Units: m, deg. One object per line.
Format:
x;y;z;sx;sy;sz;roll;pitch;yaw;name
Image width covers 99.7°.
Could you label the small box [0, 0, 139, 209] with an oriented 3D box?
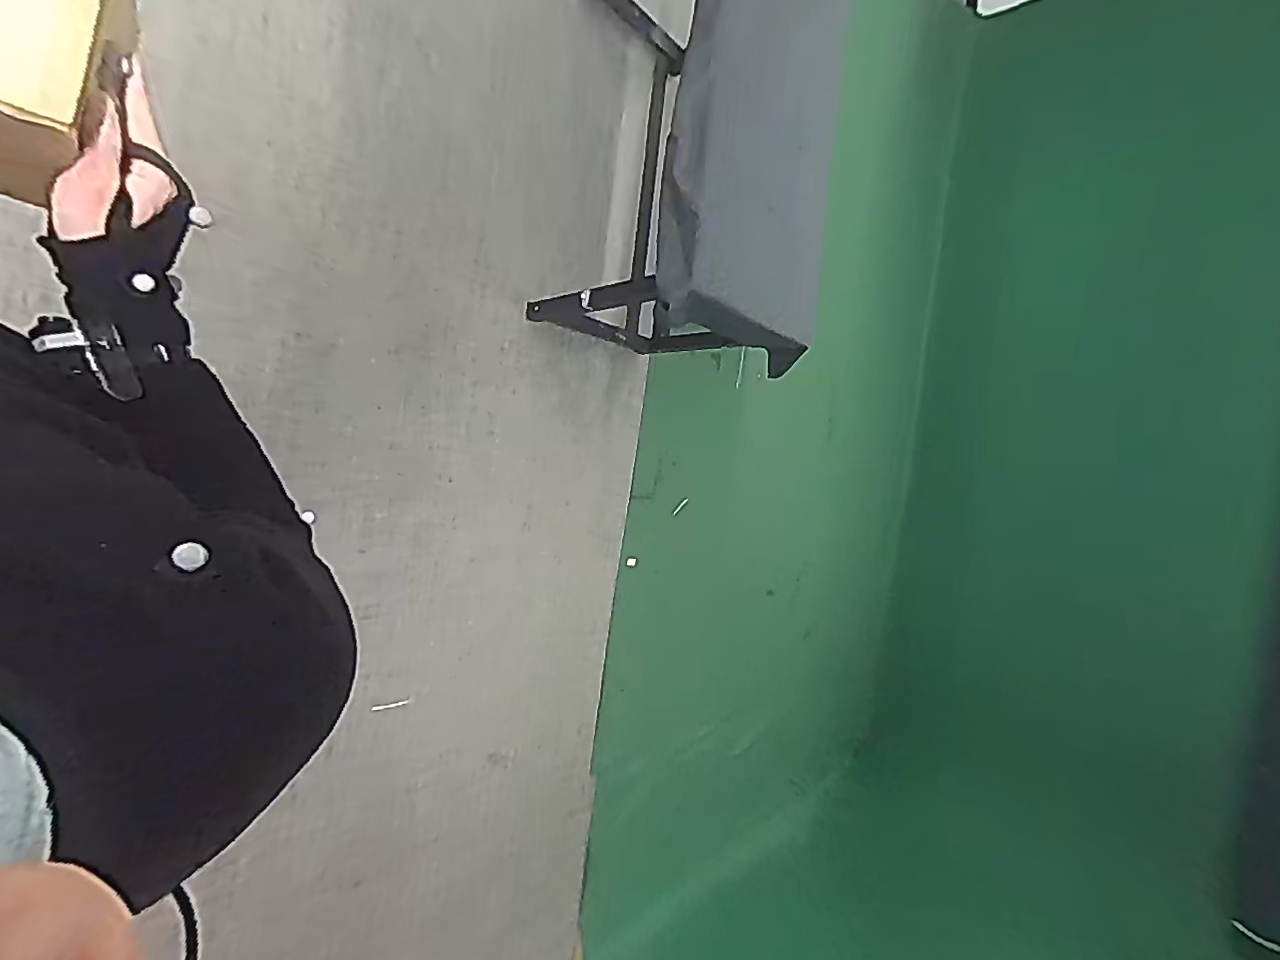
-0.430;-0.301;0.328;0.168;0.176;0.179;10;85;-42;small box
